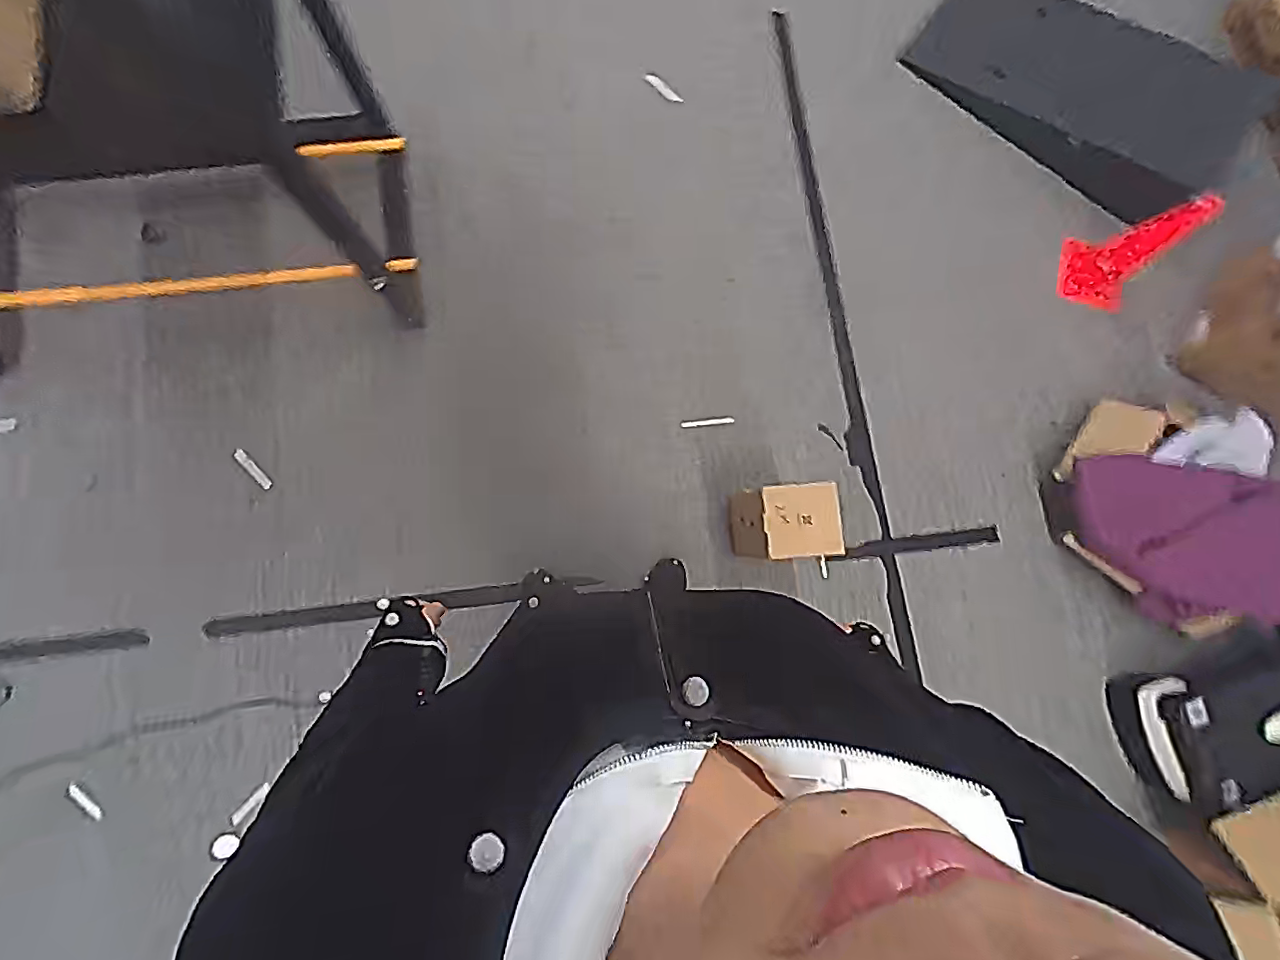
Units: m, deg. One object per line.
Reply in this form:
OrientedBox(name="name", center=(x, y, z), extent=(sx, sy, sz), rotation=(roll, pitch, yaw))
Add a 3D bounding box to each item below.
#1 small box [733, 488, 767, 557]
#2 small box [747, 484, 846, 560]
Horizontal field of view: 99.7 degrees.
OrientedBox(name="small box", center=(0.353, 0.117, 1.459), extent=(0.168, 0.176, 0.179), rotation=(-3, 83, -3))
OrientedBox(name="small box", center=(0.368, 0.102, 1.295), extent=(0.179, 0.176, 0.168), rotation=(-3, 83, -3))
